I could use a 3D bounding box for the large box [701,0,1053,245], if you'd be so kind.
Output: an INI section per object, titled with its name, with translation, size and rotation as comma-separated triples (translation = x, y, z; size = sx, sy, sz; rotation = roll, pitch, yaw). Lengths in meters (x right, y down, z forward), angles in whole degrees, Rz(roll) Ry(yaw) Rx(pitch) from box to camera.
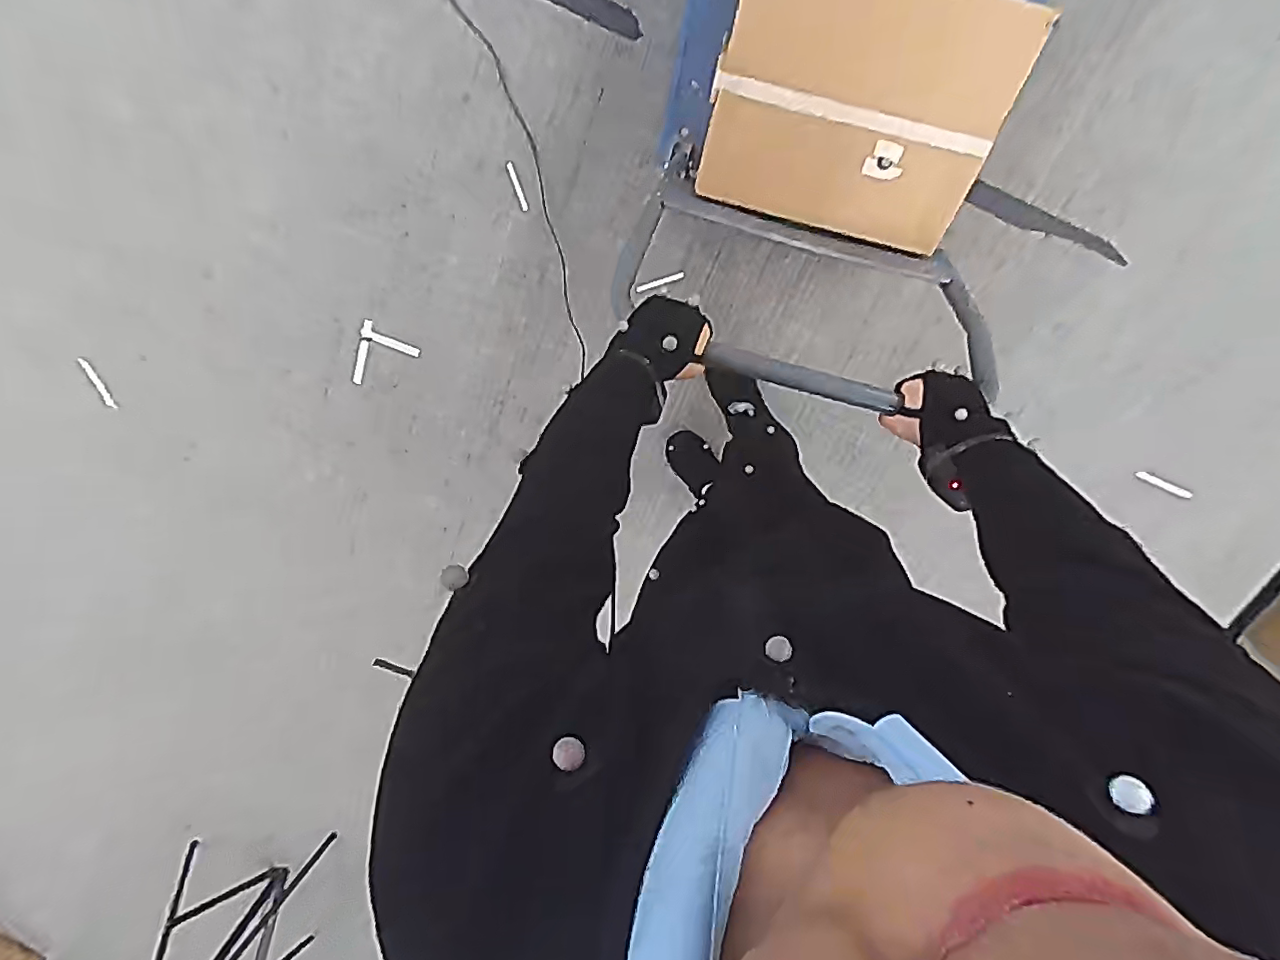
[large box]
translation = 0.339, -0.638, 0.909
size = 0.408, 0.320, 0.320
rotation = 15, 131, 0
